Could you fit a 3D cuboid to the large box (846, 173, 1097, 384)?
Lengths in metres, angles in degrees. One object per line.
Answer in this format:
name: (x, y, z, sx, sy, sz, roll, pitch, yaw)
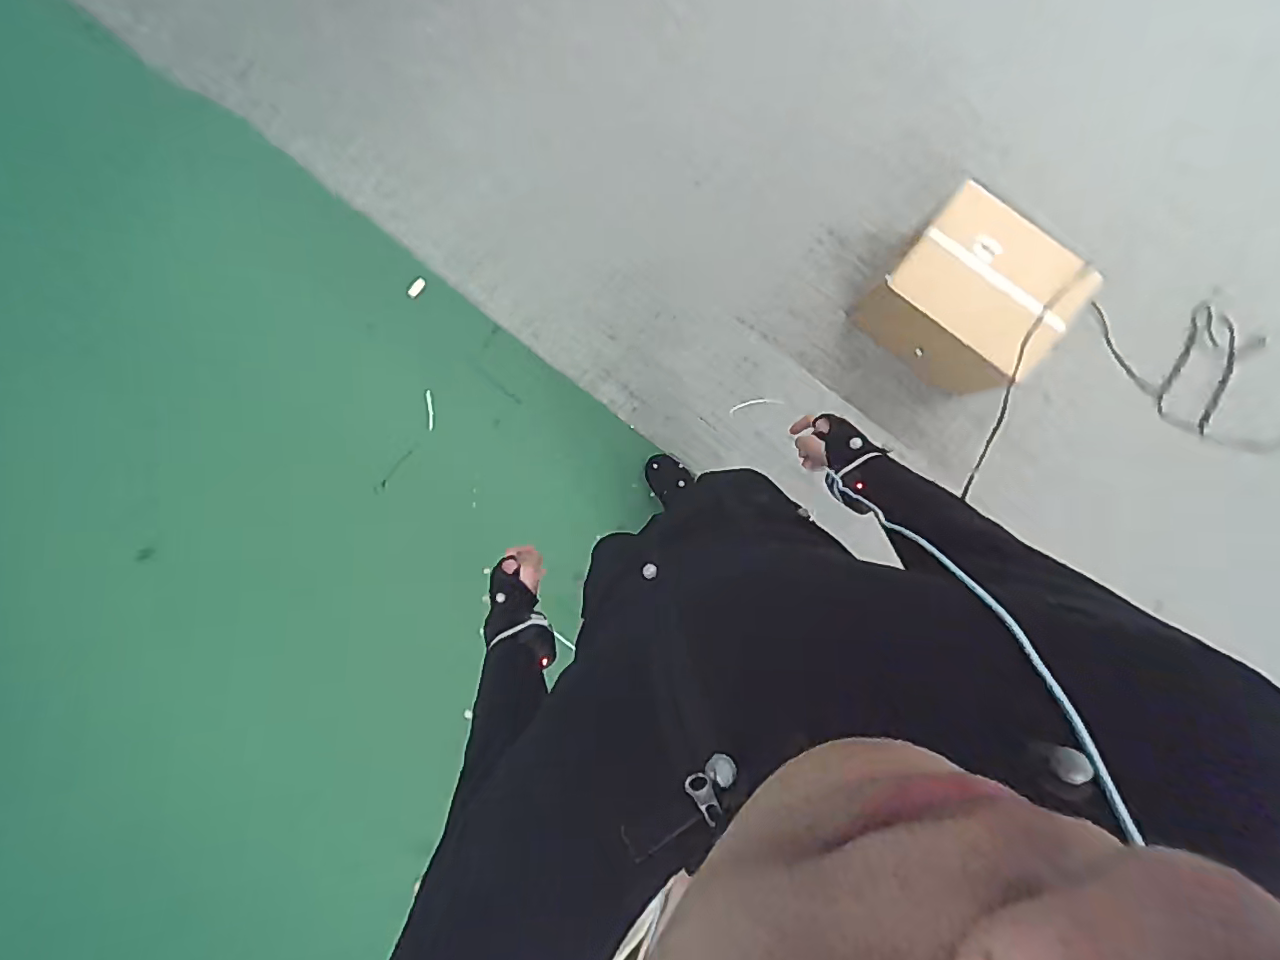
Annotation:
large box: (0.842, -0.504, 1.436, 0.408, 0.320, 0.320, 36, 93, 3)
